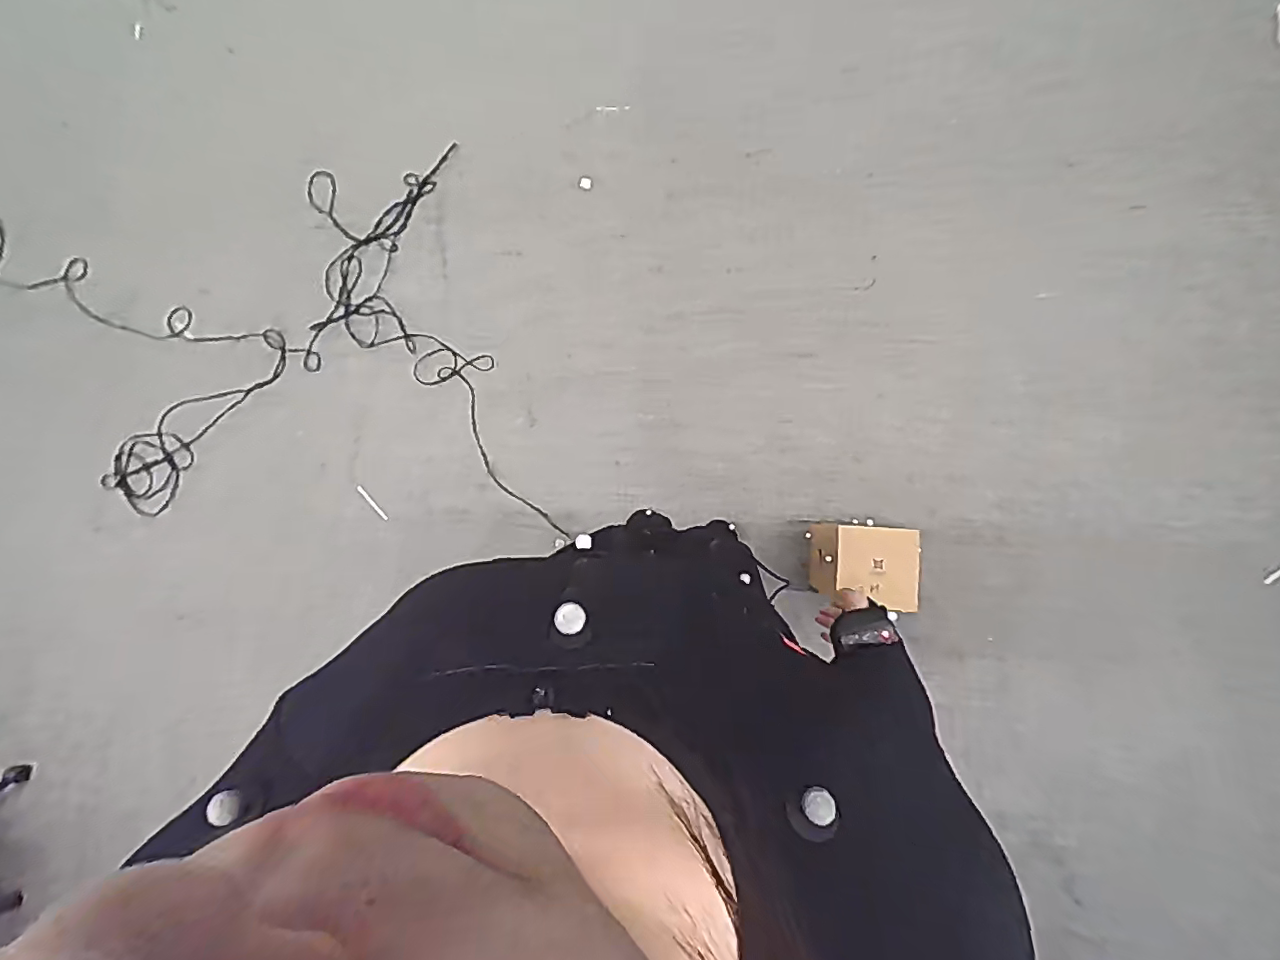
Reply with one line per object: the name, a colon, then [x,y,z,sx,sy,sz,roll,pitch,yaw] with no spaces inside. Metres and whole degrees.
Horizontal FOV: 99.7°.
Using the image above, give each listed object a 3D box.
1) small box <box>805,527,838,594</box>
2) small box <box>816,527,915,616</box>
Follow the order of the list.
small box: [0.525,0.207,1.379,0.179,0.176,0.168,3,87,6]
small box: [0.499,0.198,1.216,0.168,0.176,0.179,3,87,7]
